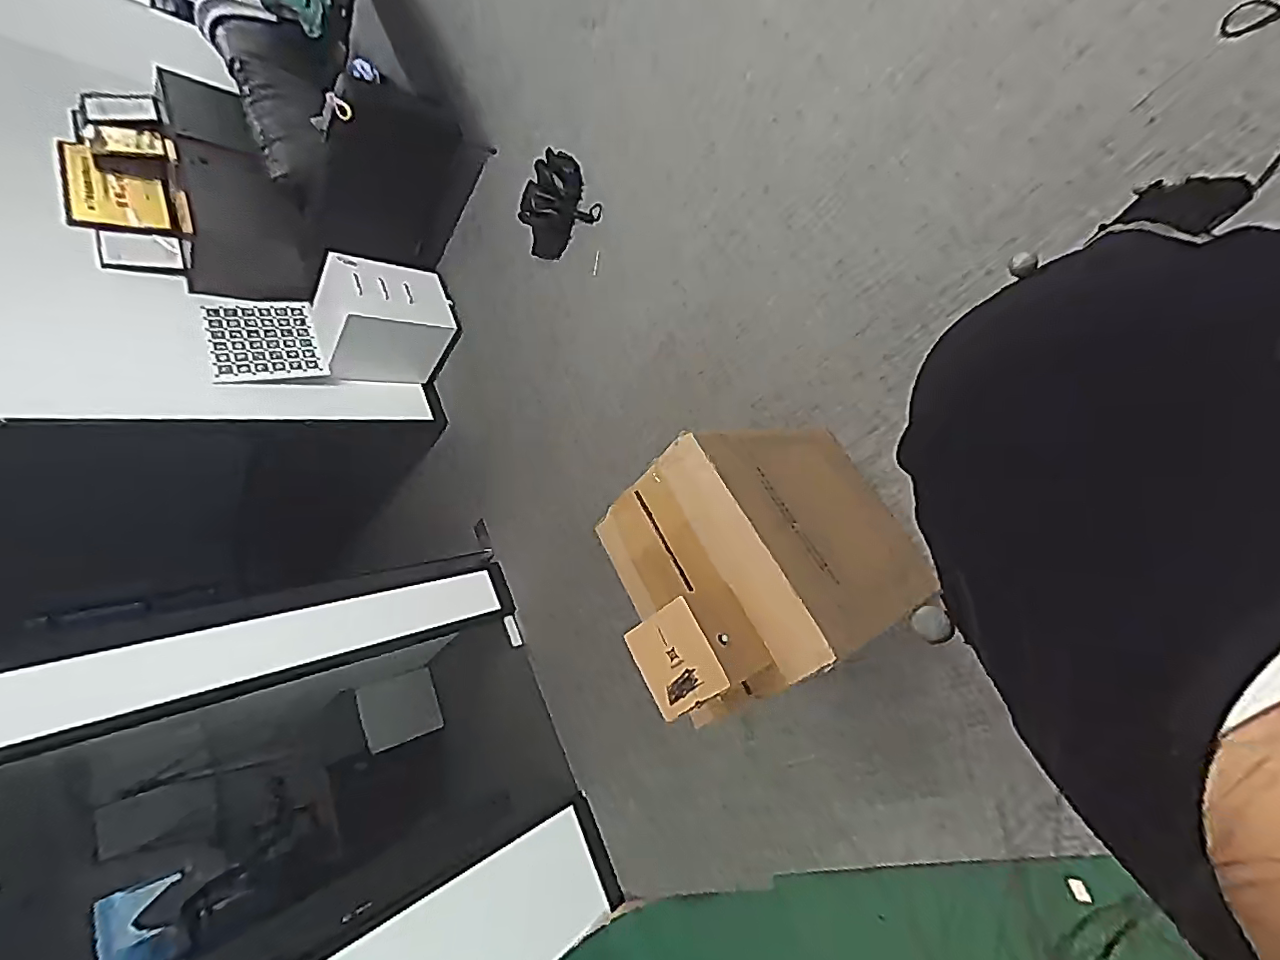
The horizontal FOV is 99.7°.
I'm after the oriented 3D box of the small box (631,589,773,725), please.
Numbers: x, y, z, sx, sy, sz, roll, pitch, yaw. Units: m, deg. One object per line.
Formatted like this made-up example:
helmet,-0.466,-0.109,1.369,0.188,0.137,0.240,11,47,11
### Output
small box,0.121,0.327,1.025,0.168,0.176,0.179,-43,64,28
